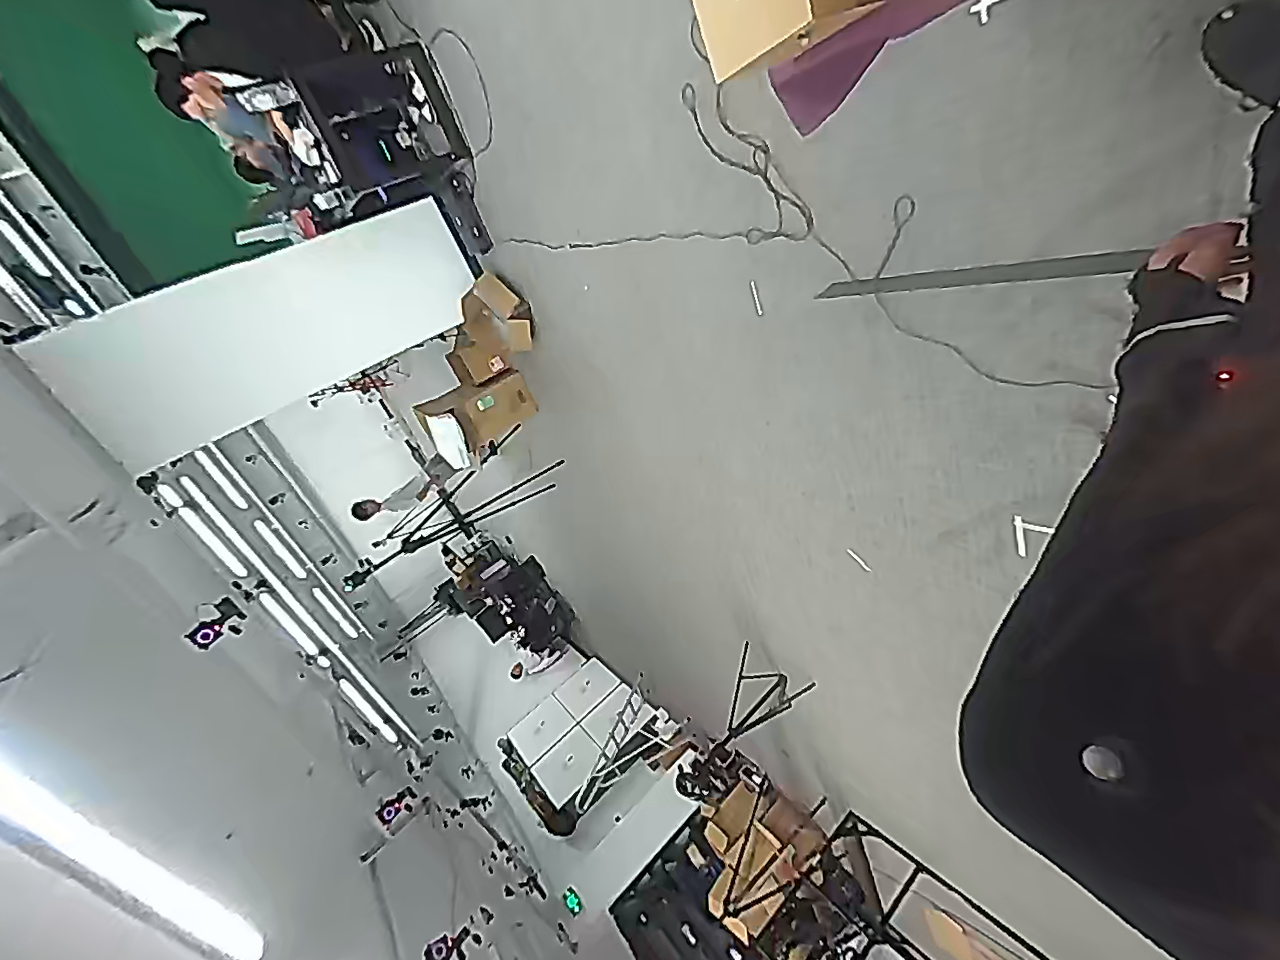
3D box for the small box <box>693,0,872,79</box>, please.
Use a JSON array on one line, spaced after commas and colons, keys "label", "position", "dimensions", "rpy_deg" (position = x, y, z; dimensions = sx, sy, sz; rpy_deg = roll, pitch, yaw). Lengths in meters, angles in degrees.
[{"label": "small box", "position": [0.187, -0.675, 0.714], "dimensions": [0.179, 0.176, 0.168], "rpy_deg": [13, 133, 54]}]
